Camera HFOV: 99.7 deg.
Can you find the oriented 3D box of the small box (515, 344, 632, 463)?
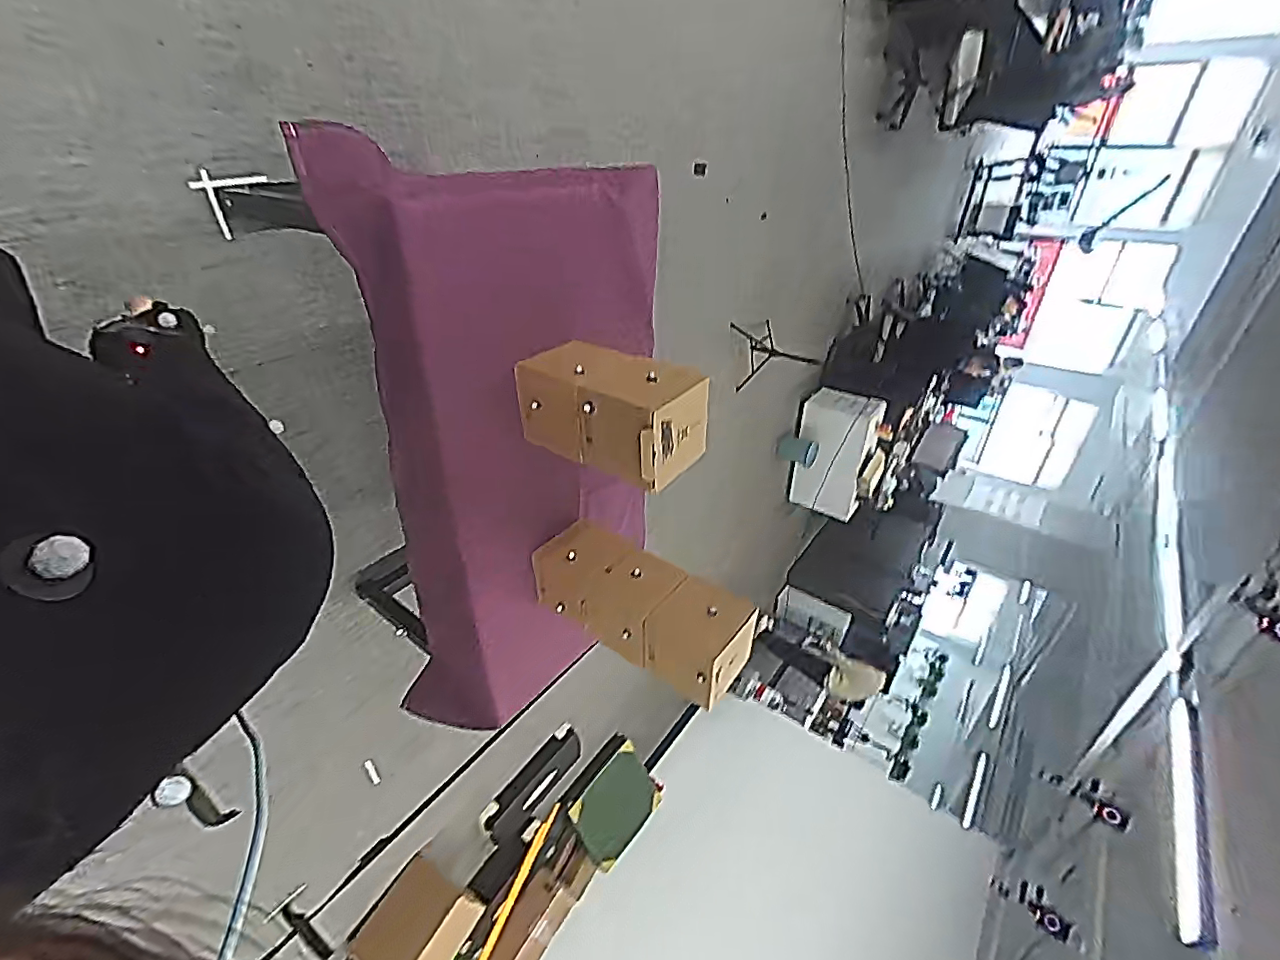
[{"bbox_3d":[-0.125,-0.163,1.089,0.179,0.176,0.168,-35,137,-41],"label":"small box"}]

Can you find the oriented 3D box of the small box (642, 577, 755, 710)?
[{"bbox_3d":[0.122,0.337,1.149,0.179,0.176,0.168,-36,137,-42],"label":"small box"}]

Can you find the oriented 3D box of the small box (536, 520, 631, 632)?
[{"bbox_3d":[-0.139,0.226,1.314,0.179,0.176,0.168,-35,137,-42],"label":"small box"}]

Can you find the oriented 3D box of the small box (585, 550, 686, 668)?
[{"bbox_3d":[-0.011,0.281,1.227,0.168,0.176,0.179,-35,137,-41],"label":"small box"}]

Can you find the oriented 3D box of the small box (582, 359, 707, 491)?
[{"bbox_3d":[0.006,-0.109,1.004,0.179,0.176,0.168,-37,138,-40],"label":"small box"}]
